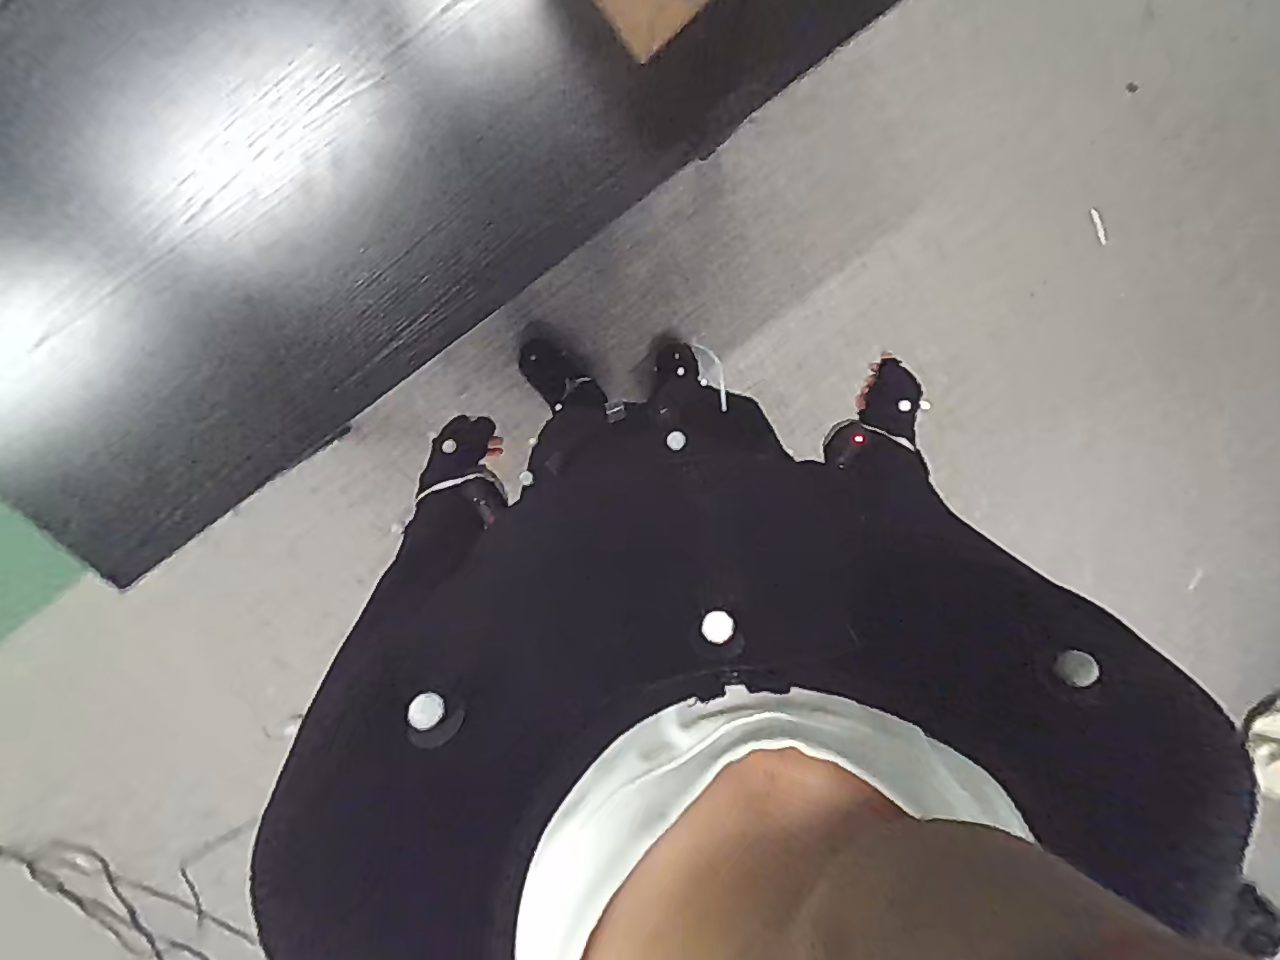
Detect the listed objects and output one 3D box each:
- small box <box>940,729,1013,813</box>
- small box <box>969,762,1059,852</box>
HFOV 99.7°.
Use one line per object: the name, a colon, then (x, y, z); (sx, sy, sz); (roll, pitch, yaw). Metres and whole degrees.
small box: (1.236, 1.052, 1.968); (0.168, 0.176, 0.179); (-31, 110, 0)
small box: (1.257, 1.093, 1.827); (0.168, 0.176, 0.179); (-33, 110, 1)
